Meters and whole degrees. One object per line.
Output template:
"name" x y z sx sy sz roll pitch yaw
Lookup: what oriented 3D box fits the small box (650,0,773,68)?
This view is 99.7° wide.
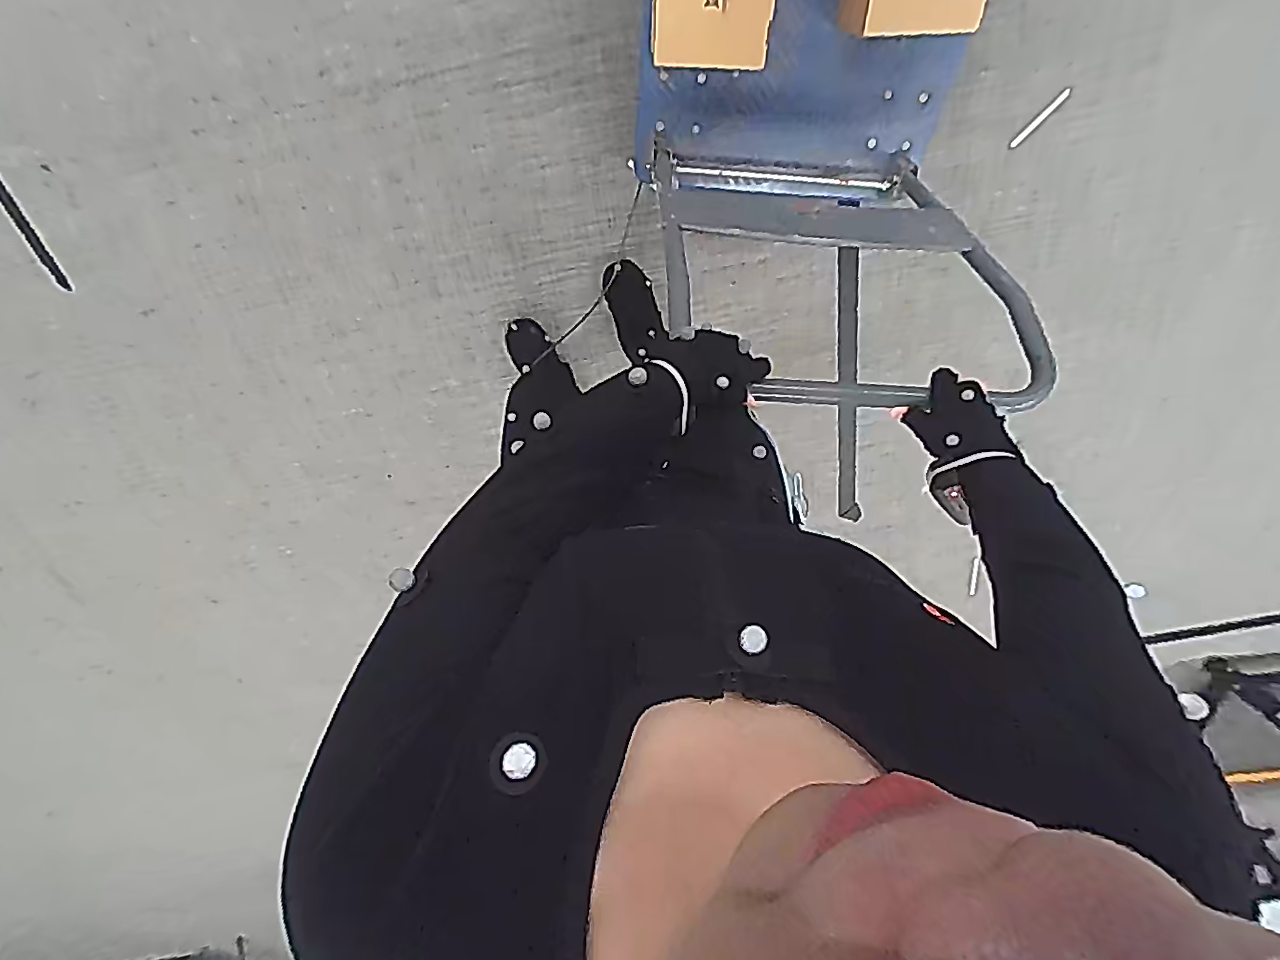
"small box" 0.107 -0.757 0.841 0.179 0.176 0.168 0 135 -3

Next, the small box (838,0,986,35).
"small box" 0.417 -0.786 0.815 0.179 0.176 0.168 -1 135 1
